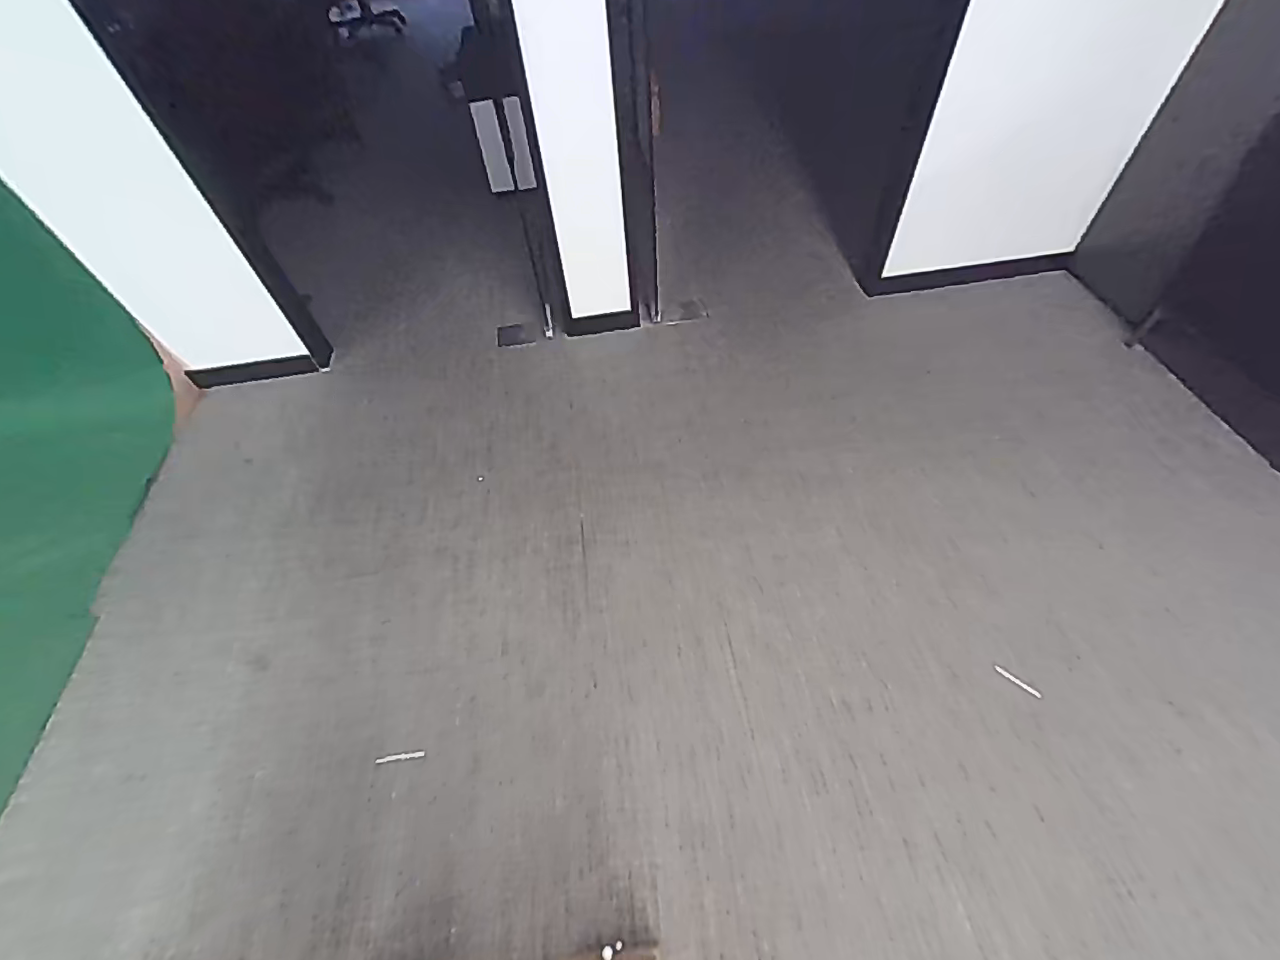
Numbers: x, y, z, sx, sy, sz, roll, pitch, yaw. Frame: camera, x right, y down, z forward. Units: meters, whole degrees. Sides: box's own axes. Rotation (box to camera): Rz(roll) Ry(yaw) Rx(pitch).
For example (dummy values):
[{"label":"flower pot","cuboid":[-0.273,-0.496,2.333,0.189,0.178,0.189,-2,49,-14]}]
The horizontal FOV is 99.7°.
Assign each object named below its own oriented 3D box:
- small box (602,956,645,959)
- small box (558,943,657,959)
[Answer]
[{"label":"small box","cuboid":[-0.059,0.786,0.747,0.168,0.176,0.179,-5,51,0]},{"label":"small box","cuboid":[-0.049,0.883,0.880,0.168,0.176,0.179,-6,53,-1]}]
